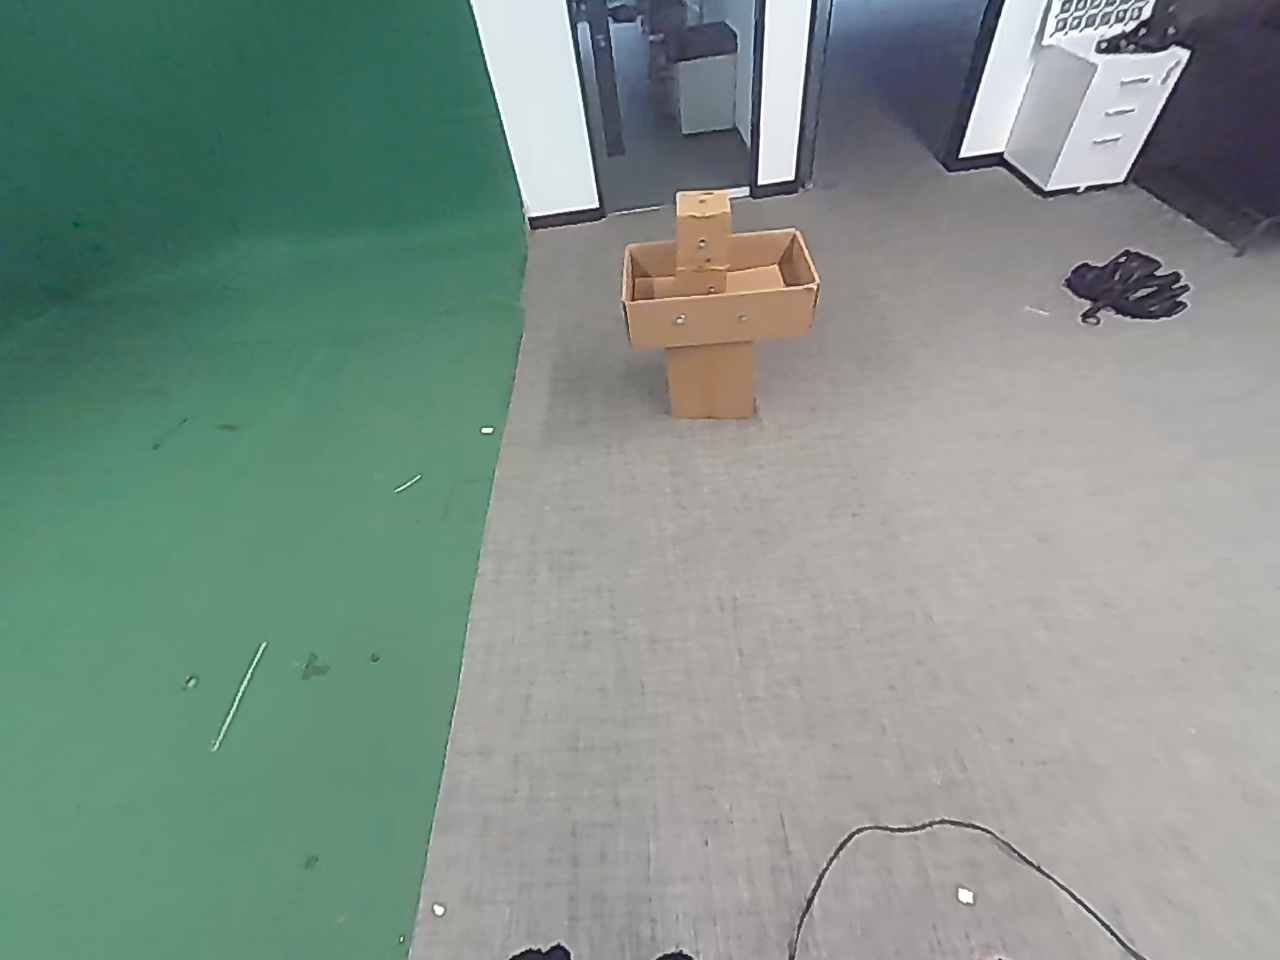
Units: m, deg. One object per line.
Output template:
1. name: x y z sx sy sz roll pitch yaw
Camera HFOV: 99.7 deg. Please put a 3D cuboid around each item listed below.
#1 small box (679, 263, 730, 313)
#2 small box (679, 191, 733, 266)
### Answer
1. small box: 0.221 -0.691 1.864 0.168 0.176 0.179 0 47 5
2. small box: 0.211 -0.807 1.749 0.168 0.176 0.179 0 50 4
